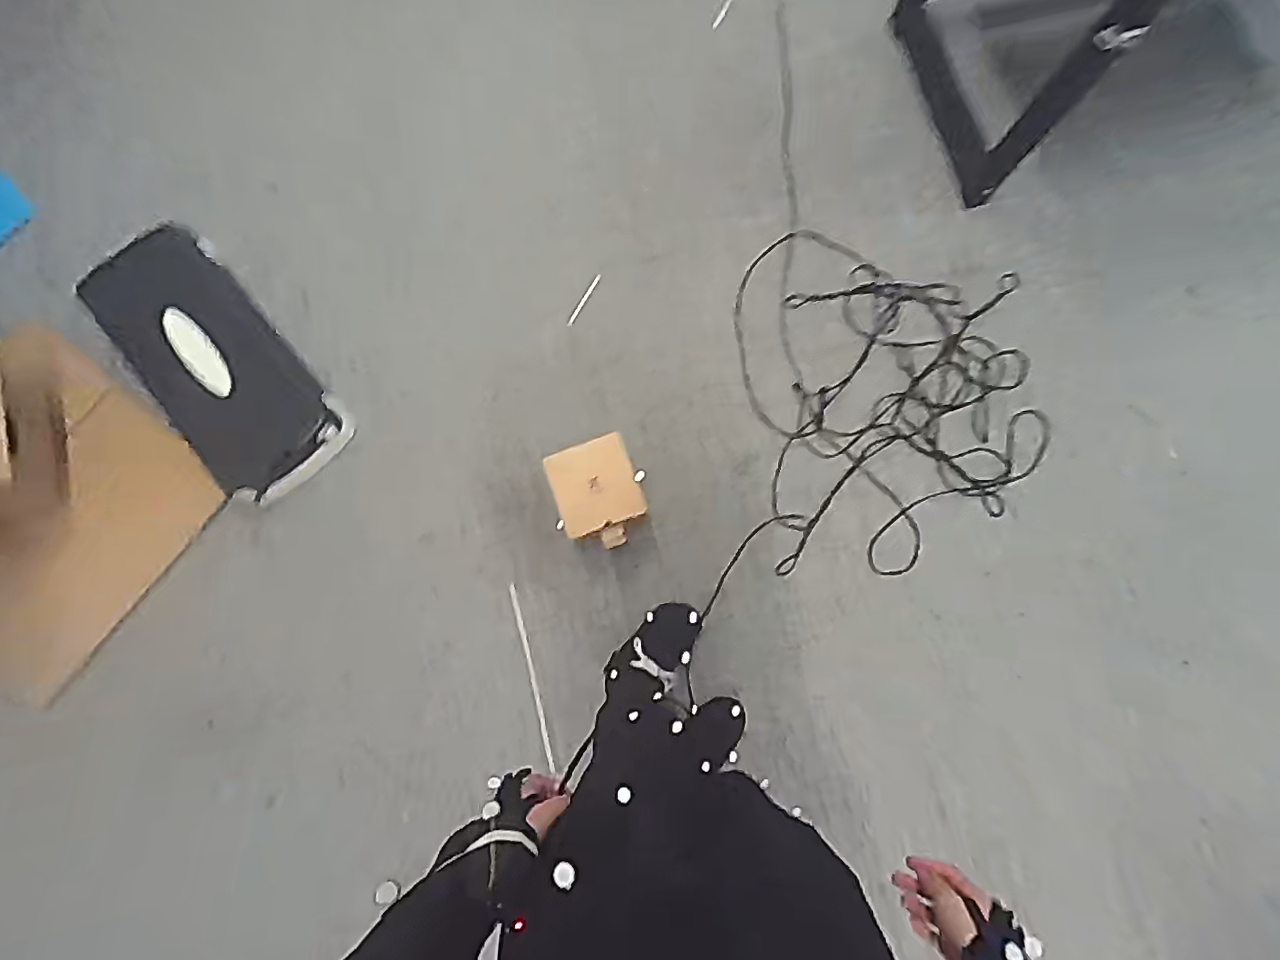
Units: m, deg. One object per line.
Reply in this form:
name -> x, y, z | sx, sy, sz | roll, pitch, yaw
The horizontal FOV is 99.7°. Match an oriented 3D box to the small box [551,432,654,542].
small box -> -0.078, 0.022, 1.144 | 0.168, 0.176, 0.179 | -19, 82, -3
